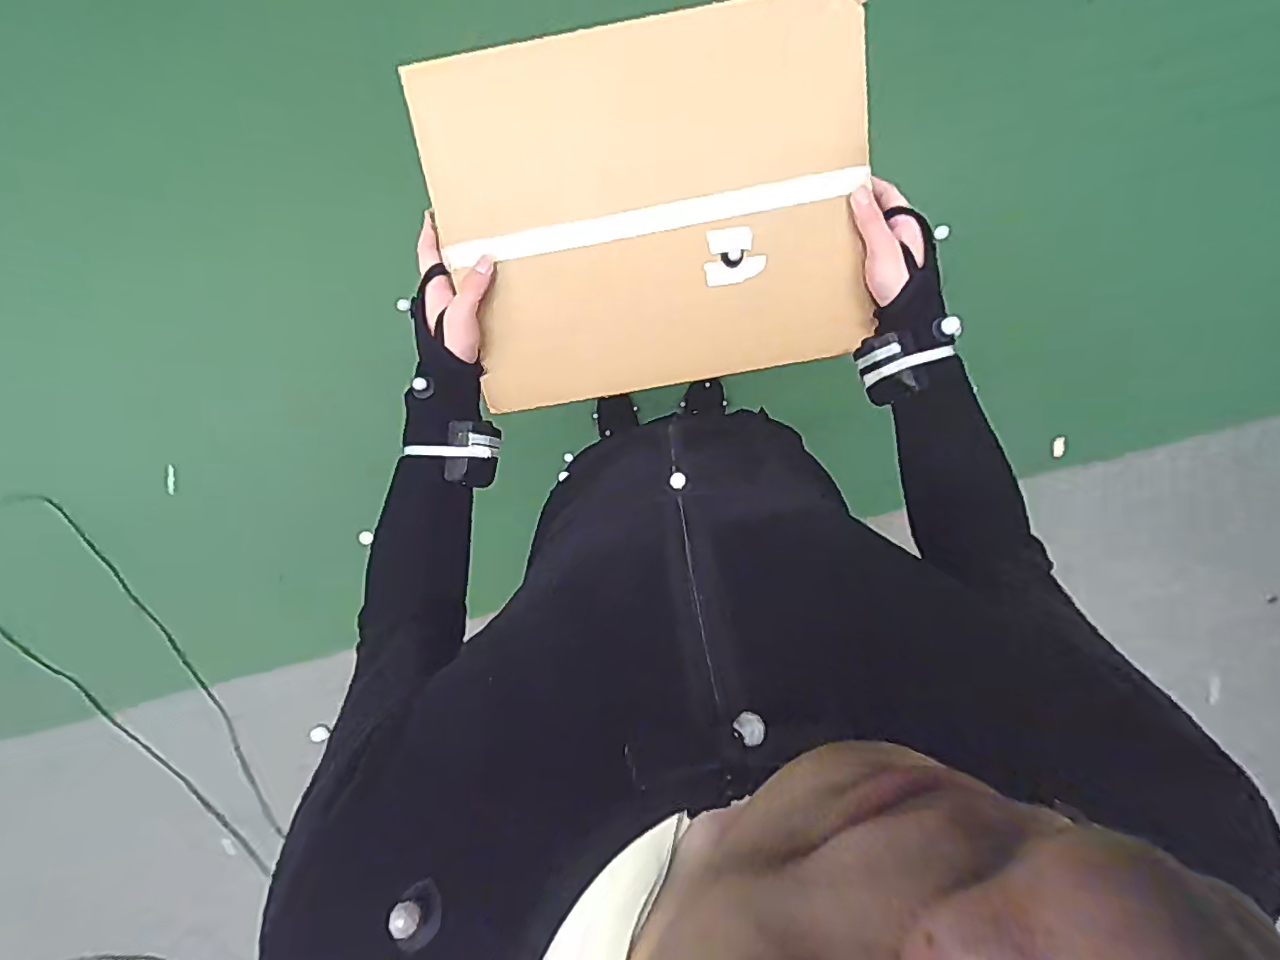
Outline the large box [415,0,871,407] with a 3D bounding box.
[{"bbox_3d":[0.012,-0.297,0.664,0.408,0.320,0.320,-10,107,1],"label":"large box"}]
